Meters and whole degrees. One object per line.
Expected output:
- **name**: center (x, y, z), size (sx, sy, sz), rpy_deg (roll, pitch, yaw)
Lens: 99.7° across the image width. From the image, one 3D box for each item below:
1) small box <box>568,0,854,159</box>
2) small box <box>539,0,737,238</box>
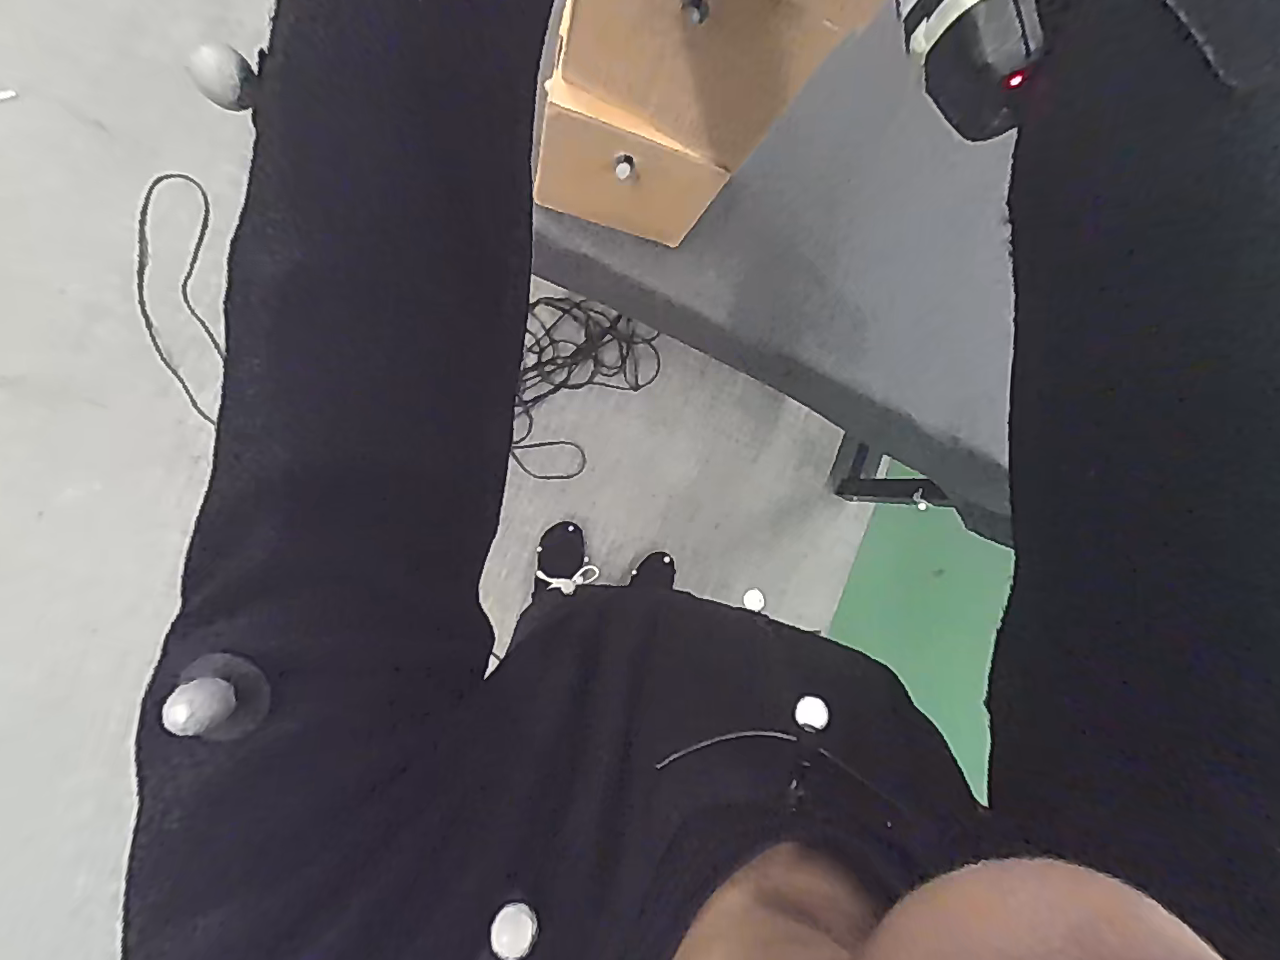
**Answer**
- **small box**: center (0.057, -0.384, 0.400), size (0.179, 0.176, 0.168), rpy_deg (21, 86, -13)
- **small box**: center (0.001, -0.375, 0.553), size (0.179, 0.176, 0.168), rpy_deg (12, 87, -13)
